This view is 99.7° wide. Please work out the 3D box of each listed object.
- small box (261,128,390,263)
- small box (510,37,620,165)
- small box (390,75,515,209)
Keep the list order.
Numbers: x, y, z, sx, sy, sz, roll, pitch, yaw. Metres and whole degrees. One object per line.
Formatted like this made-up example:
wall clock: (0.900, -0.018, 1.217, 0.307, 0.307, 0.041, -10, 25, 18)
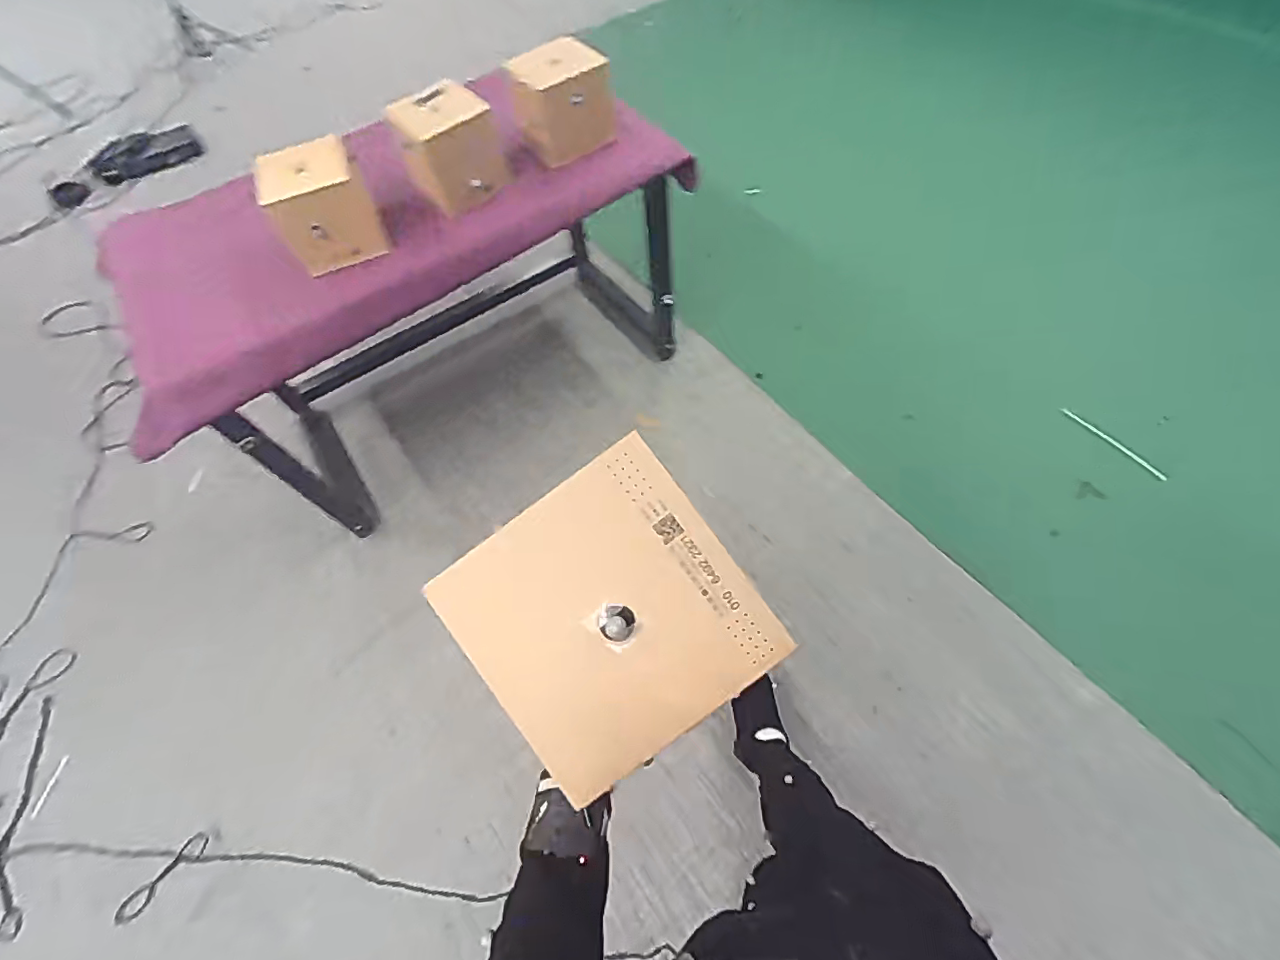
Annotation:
small box: (-0.634, -0.569, 1.101, 0.168, 0.176, 0.179, -21, 61, -7)
small box: (-0.163, -0.851, 1.222, 0.179, 0.176, 0.168, -31, 62, -13)
small box: (-0.399, -0.726, 1.170, 0.168, 0.176, 0.179, -36, 65, -15)
